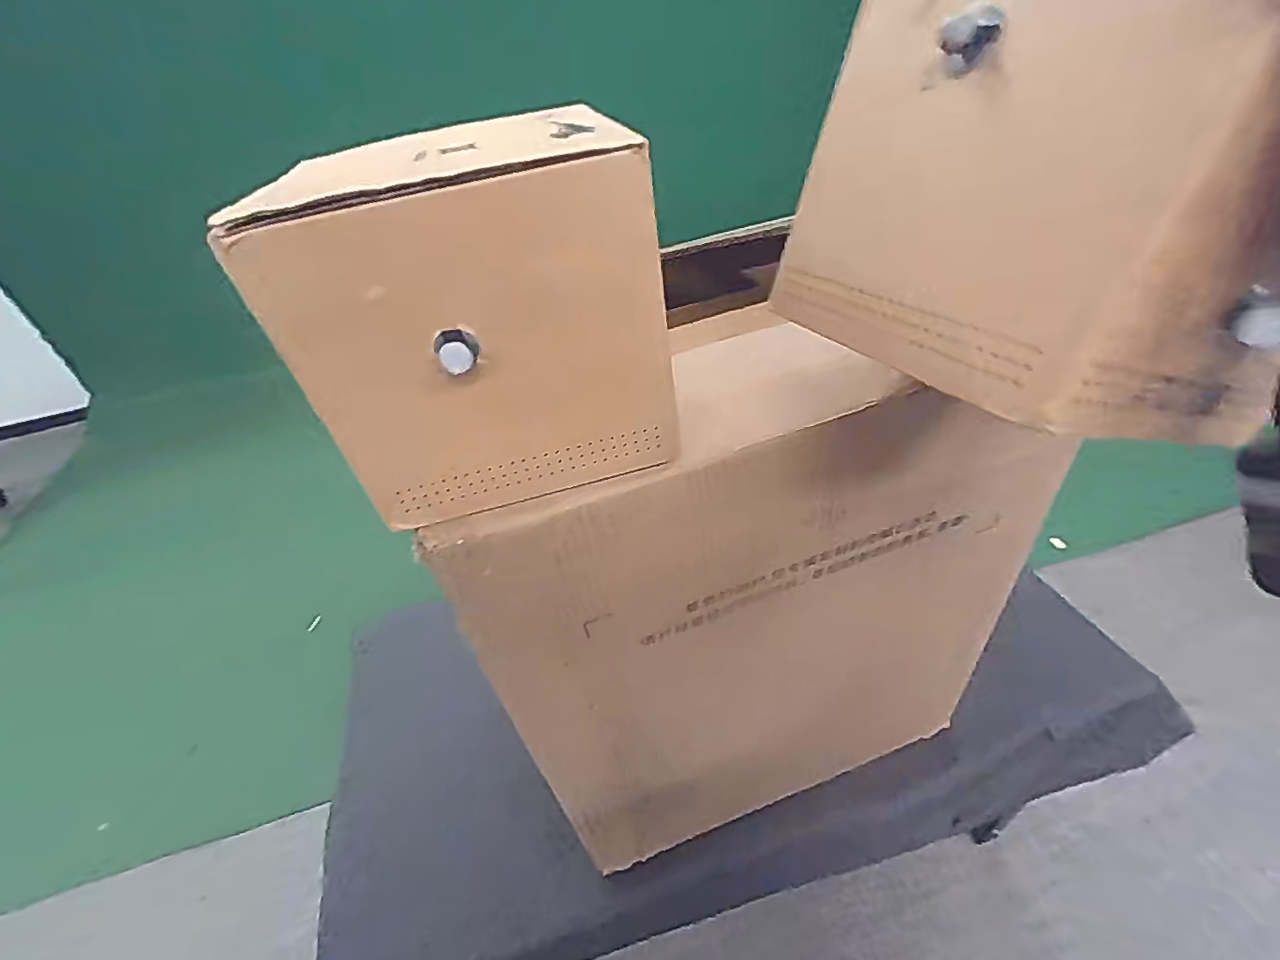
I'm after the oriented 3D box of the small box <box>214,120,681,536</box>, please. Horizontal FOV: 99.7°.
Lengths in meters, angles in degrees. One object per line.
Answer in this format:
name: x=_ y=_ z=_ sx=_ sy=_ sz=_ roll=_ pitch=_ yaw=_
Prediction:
small box: x=-0.085 y=-0.091 z=0.322 sx=0.179 sy=0.176 sz=0.168 roll=-15 pitch=42 yaw=-5
